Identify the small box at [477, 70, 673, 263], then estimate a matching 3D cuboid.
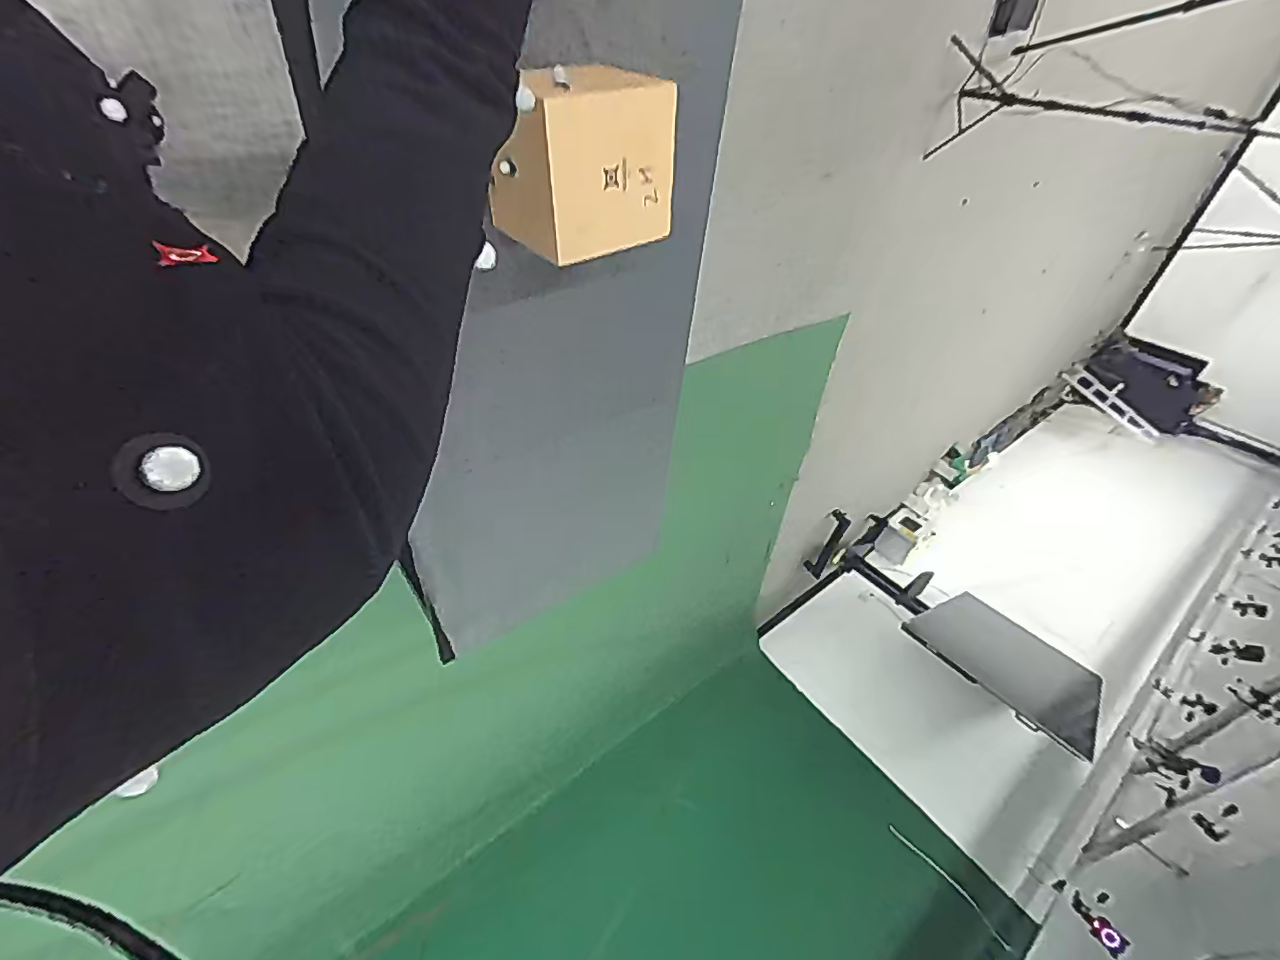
[{"bbox_3d":[-0.083,-0.390,0.664,0.179,0.176,0.168,-28,141,-28],"label":"small box"}]
